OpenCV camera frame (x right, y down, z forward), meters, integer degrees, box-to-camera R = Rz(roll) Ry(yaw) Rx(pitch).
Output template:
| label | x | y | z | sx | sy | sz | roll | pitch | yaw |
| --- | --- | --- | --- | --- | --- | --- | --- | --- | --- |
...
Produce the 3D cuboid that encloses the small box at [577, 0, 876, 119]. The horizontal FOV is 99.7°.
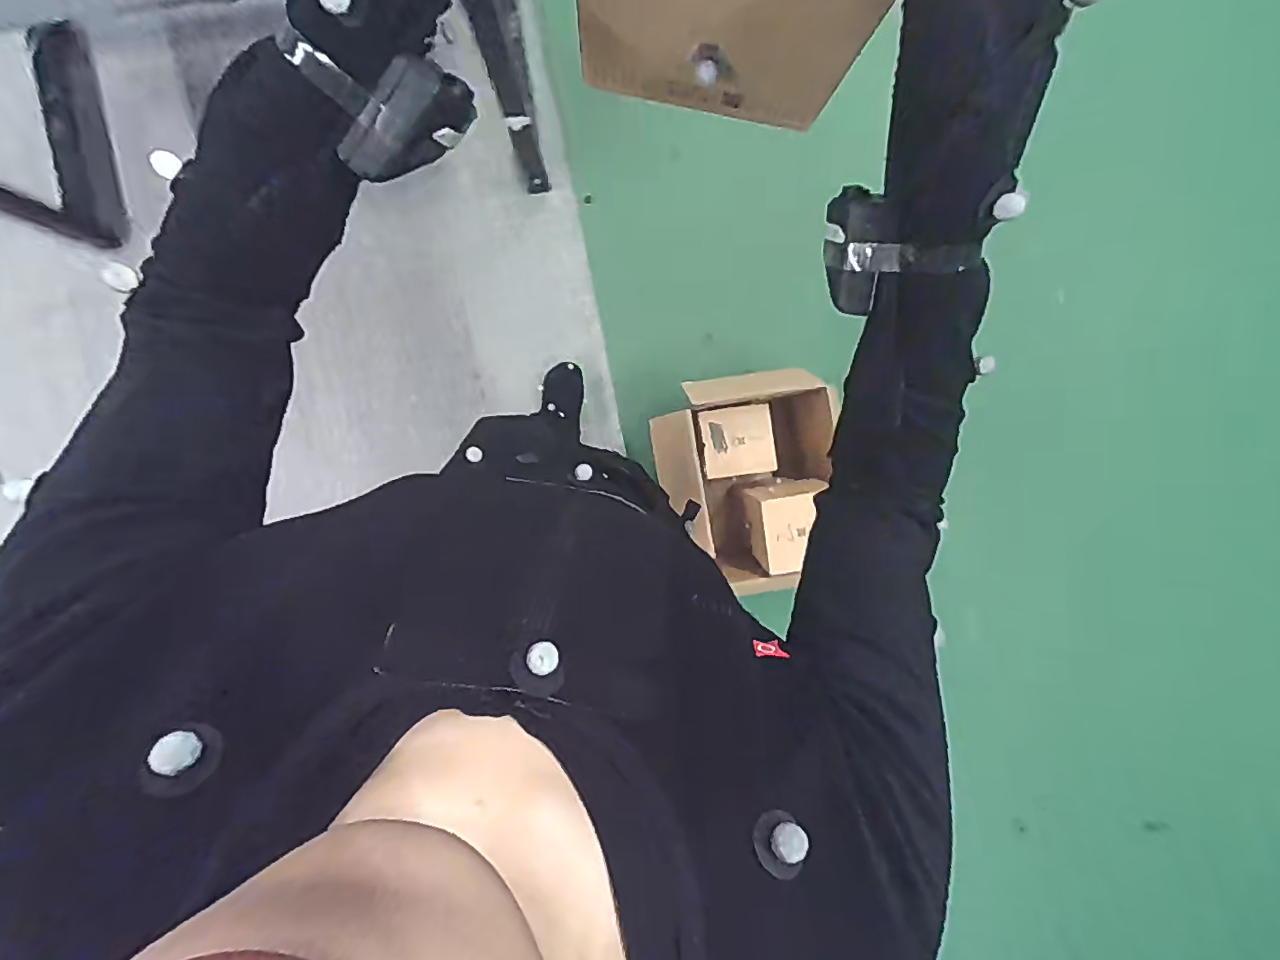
| label | x | y | z | sx | sy | sz | roll | pitch | yaw |
| --- | --- | --- | --- | --- | --- | --- | --- | --- | --- |
| small box | 0.053 | -0.347 | 0.296 | 0.168 | 0.176 | 0.179 | 8 | 95 | -4 |
